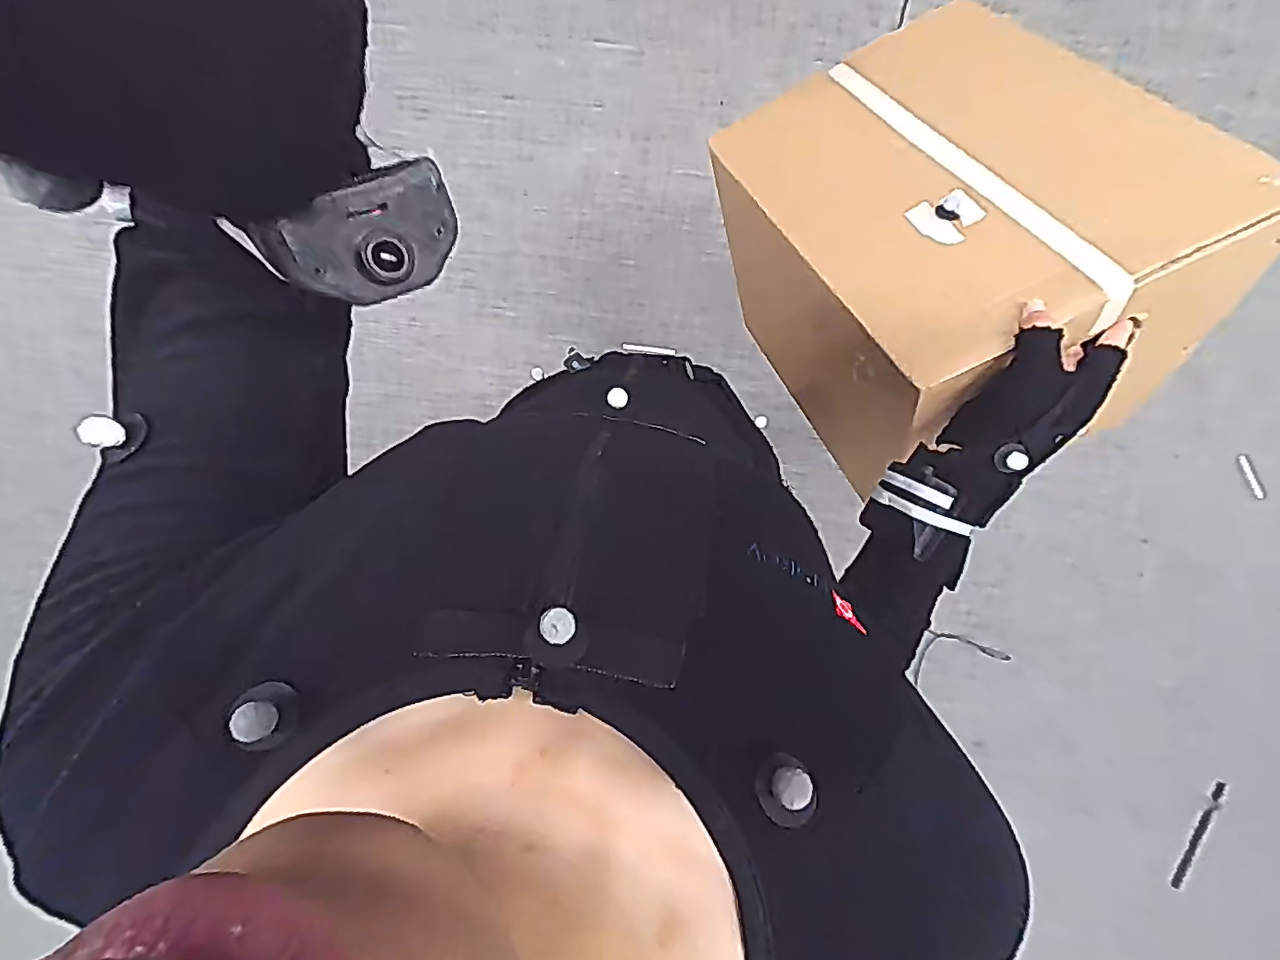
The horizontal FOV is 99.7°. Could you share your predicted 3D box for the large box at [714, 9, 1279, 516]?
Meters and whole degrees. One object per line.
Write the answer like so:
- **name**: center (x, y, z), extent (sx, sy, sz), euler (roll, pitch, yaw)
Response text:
- **large box**: center (0.327, -0.234, 0.632), extent (0.320, 0.320, 0.408), euler (-27, 59, 6)
